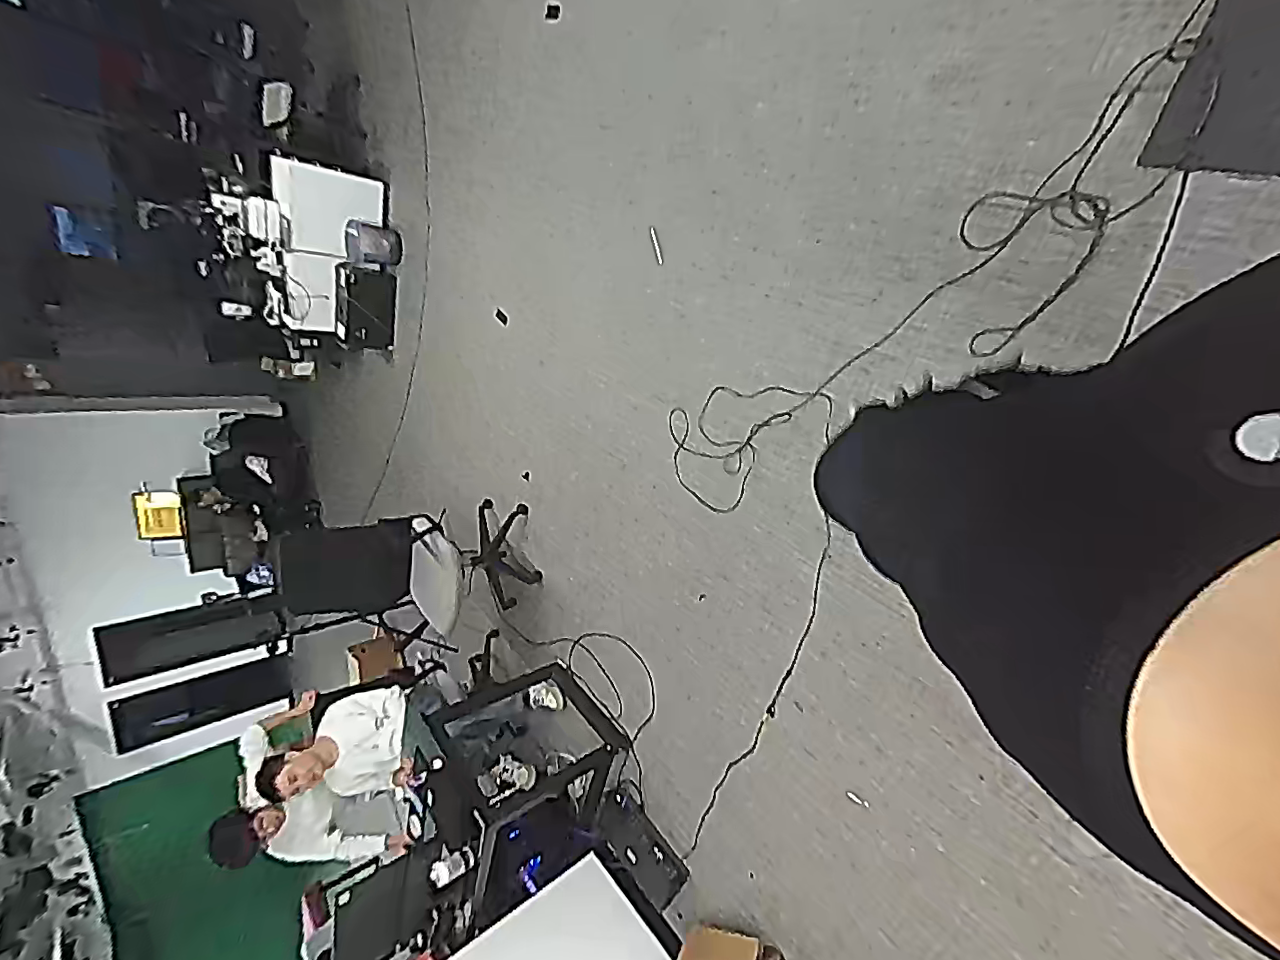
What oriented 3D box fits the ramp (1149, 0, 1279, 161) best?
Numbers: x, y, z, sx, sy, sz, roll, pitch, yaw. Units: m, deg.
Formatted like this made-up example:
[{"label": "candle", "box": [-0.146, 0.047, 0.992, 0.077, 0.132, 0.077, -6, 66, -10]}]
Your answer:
[{"label": "ramp", "box": [1.200, -0.962, 0.660, 0.509, 0.206, 0.991, 31, 119, 38]}]
